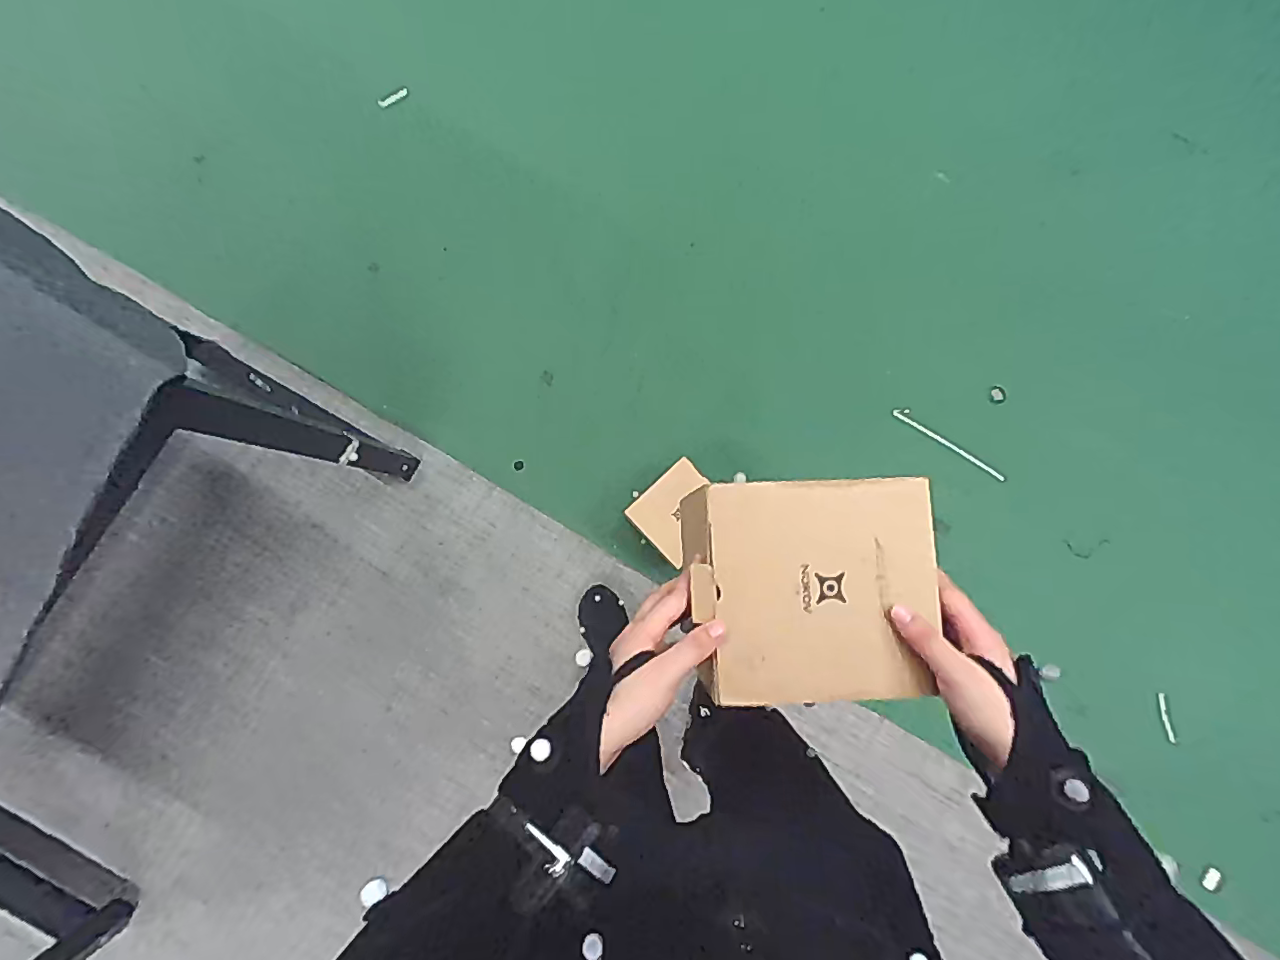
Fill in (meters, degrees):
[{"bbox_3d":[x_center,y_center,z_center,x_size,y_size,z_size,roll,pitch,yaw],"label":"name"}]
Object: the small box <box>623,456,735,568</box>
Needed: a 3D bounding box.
[{"bbox_3d":[0.080,0.072,1.192,0.179,0.176,0.168,-42,89,-5],"label":"small box"}]
